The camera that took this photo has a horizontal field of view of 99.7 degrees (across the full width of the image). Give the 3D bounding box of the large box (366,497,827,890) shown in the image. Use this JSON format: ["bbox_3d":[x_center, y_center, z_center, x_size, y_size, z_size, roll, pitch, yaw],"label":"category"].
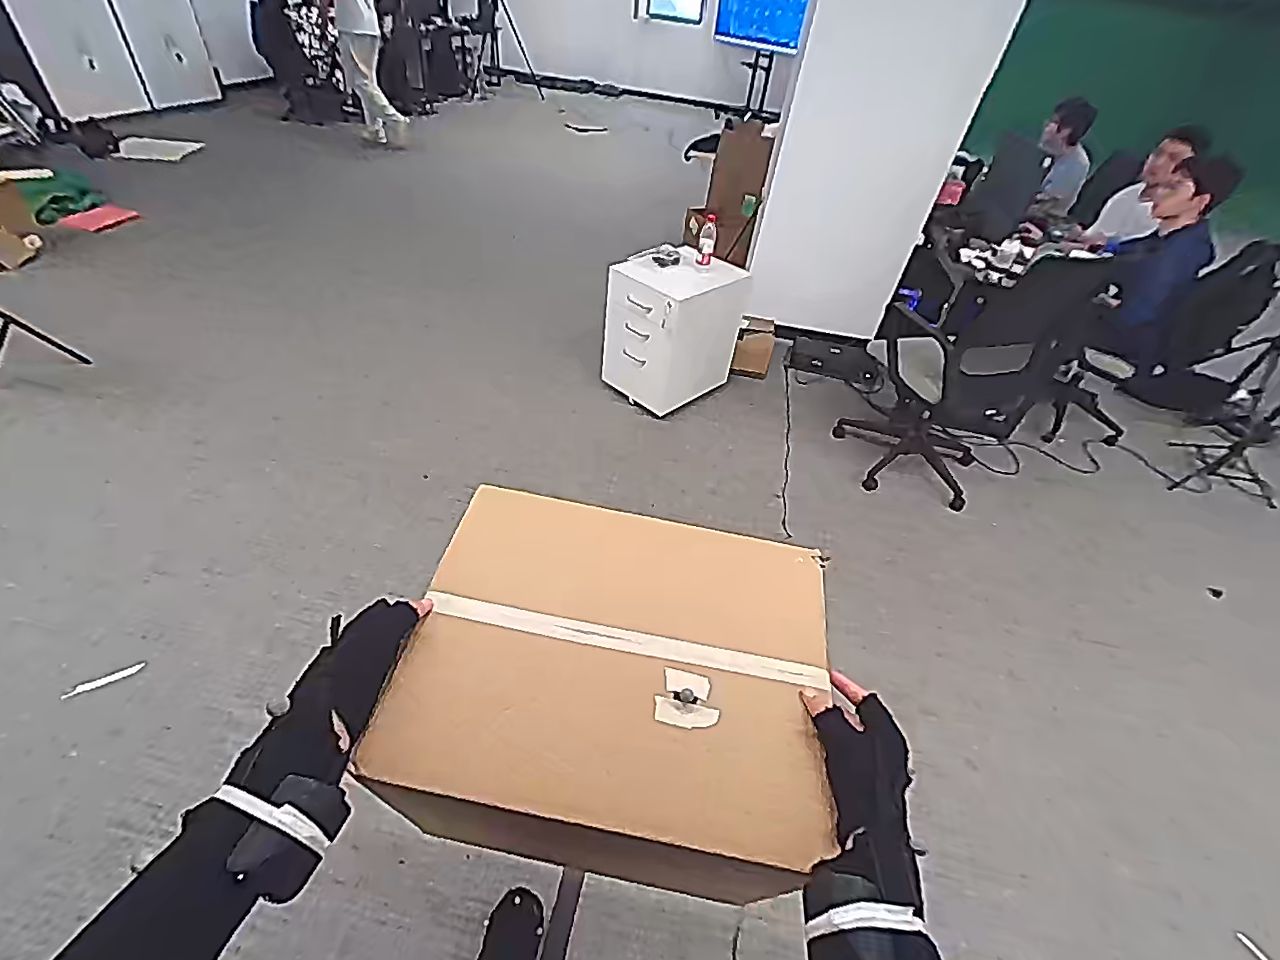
[{"bbox_3d":[-0.034,0.263,0.660,0.408,0.320,0.320,11,50,2],"label":"large box"}]
